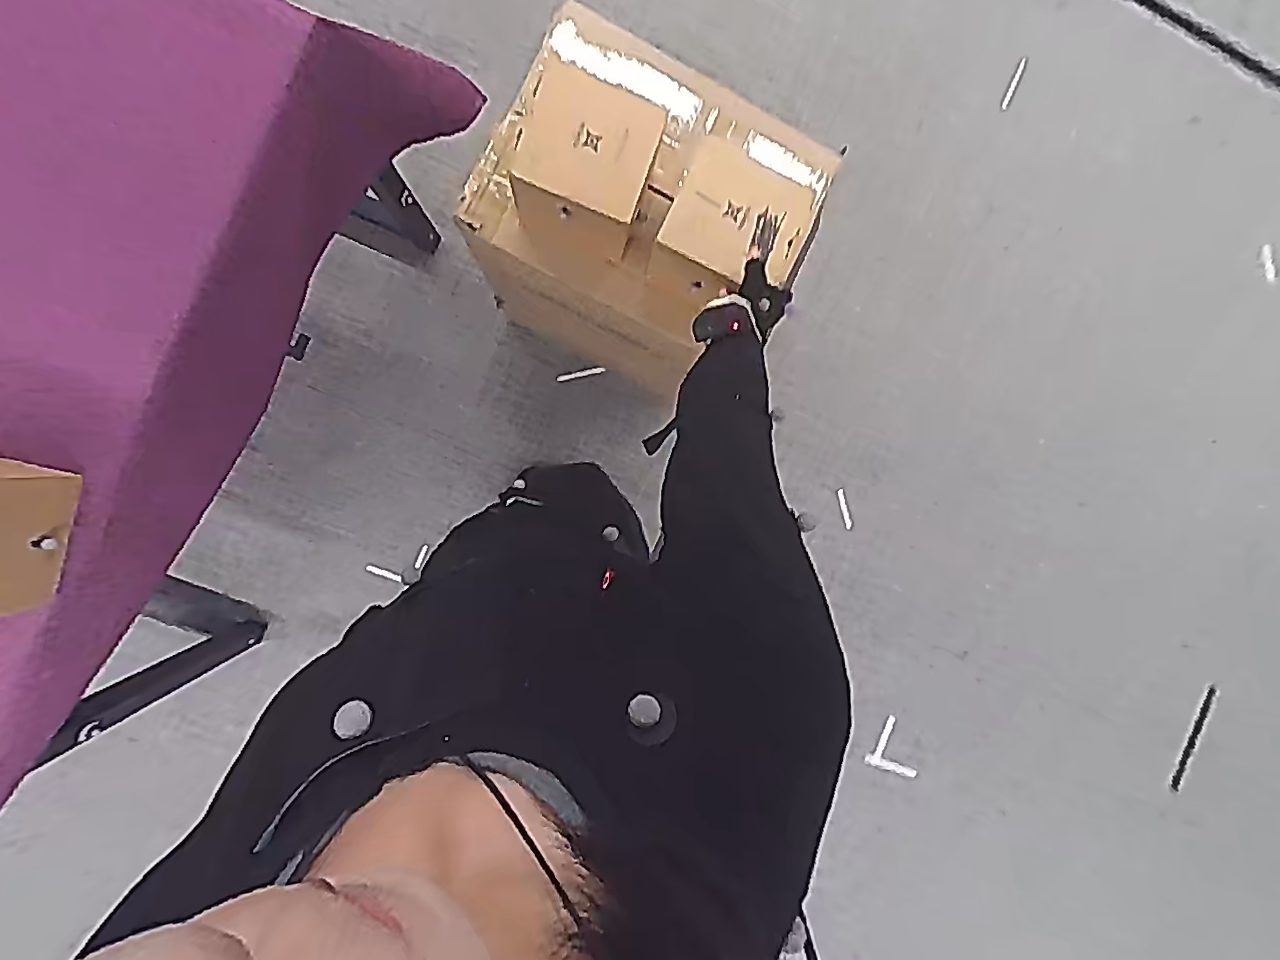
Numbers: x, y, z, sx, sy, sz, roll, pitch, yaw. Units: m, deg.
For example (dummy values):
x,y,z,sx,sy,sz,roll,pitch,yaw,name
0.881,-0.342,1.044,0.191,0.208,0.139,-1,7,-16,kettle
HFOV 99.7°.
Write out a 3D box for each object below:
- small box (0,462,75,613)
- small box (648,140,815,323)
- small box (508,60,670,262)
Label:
x,y,z,sx,sy,sz,roll,pitch,yaw,name
-0.826,0.060,0.623,0.168,0.176,0.179,14,89,-6,small box
0.127,-0.358,0.821,0.179,0.176,0.168,25,89,-4,small box
-0.076,-0.451,0.799,0.179,0.176,0.168,21,91,-7,small box
